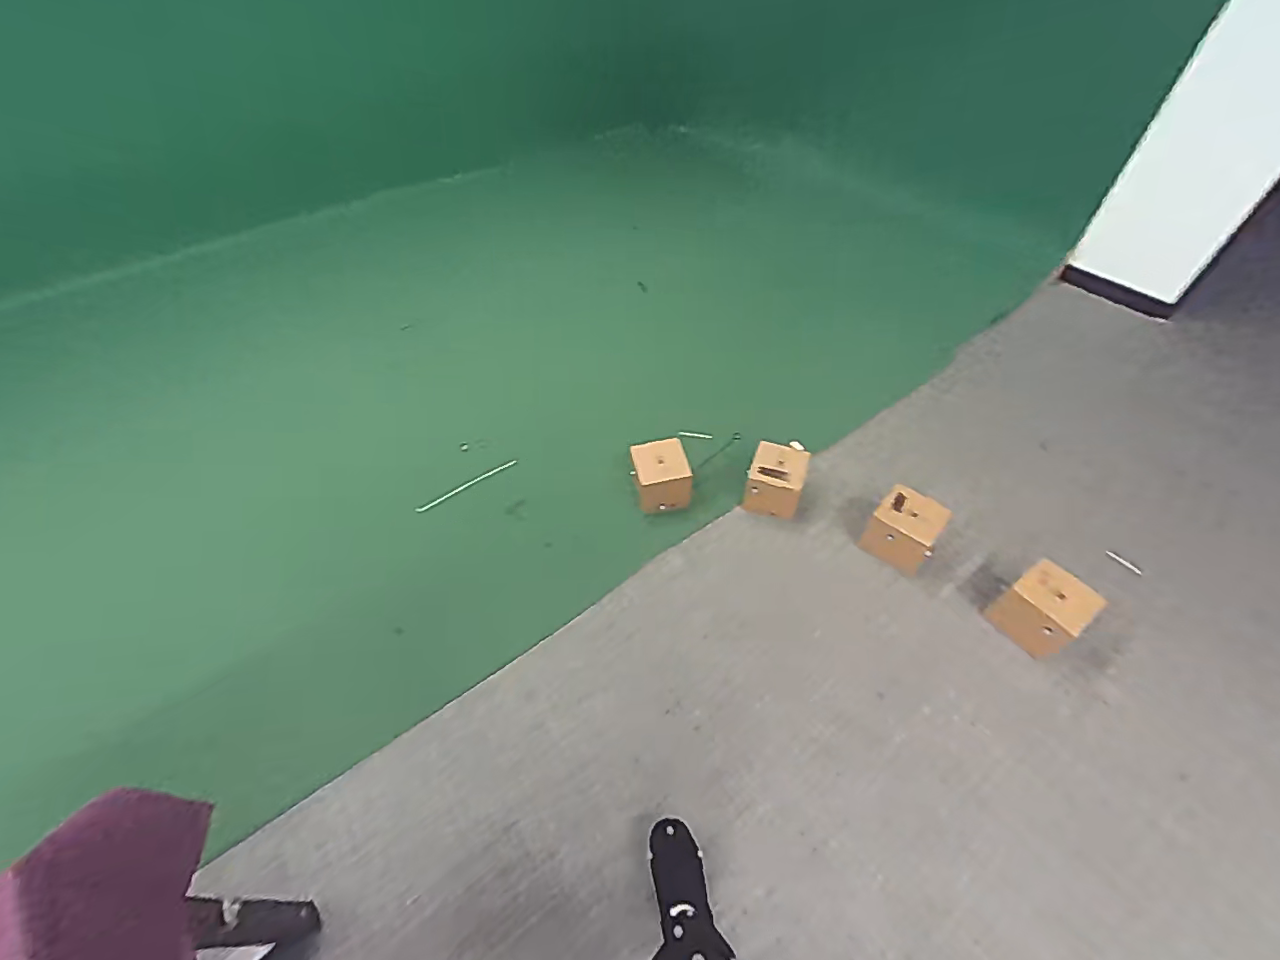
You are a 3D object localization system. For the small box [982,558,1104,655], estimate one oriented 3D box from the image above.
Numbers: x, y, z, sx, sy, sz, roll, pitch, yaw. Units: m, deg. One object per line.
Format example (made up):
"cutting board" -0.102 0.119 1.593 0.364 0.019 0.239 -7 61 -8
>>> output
"small box" 1.097 0.356 1.484 0.168 0.176 0.179 -30 56 -22

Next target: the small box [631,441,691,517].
"small box" 0.065 -0.001 1.816 0.168 0.176 0.179 -11 51 -7

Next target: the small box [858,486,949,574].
"small box" 0.800 0.156 1.659 0.179 0.176 0.168 34 59 25
